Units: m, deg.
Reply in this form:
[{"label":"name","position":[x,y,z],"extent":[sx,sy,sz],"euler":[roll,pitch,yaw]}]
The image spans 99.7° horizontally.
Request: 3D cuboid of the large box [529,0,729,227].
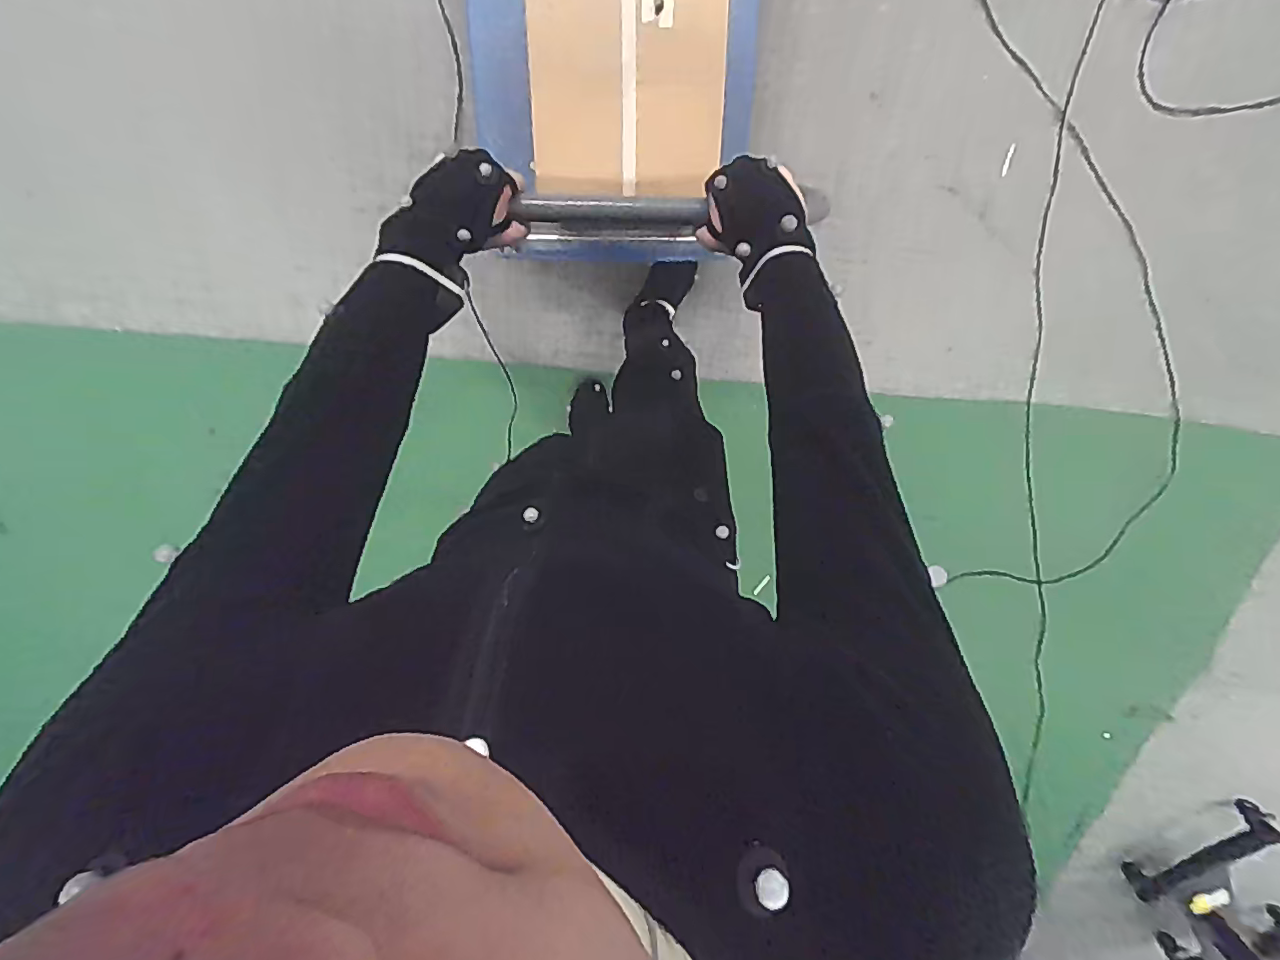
[{"label":"large box","position":[-0.020,-0.704,1.005],"extent":[0.320,0.320,0.408],"euler":[-1,111,-3]}]
